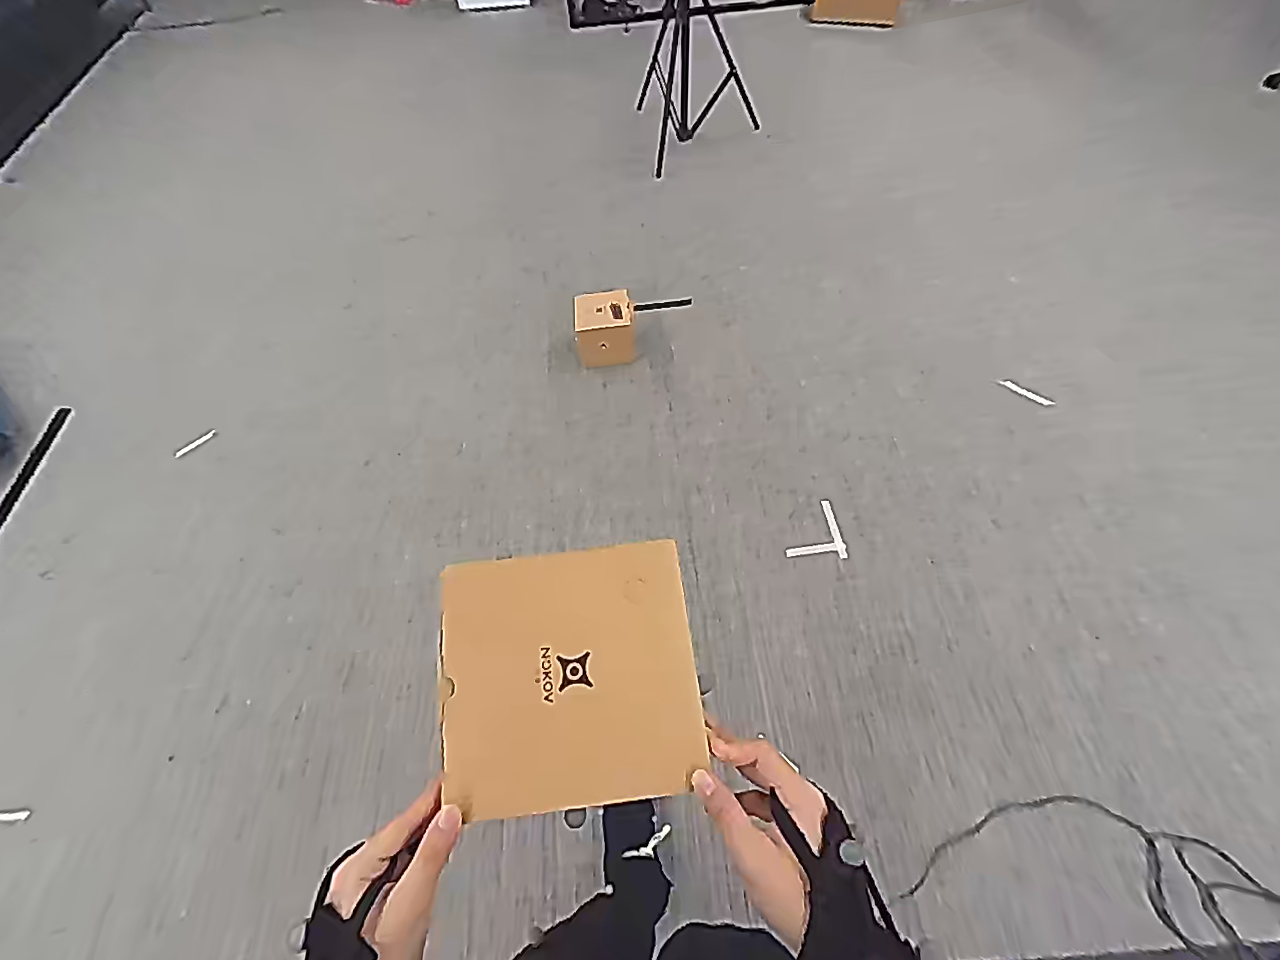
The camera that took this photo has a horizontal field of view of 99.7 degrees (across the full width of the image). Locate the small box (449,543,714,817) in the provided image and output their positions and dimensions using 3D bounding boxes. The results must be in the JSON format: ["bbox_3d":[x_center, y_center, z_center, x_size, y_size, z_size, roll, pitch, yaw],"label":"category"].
[{"bbox_3d":[-0.045,0.159,0.452,0.179,0.176,0.168,-8,69,0],"label":"small box"}]

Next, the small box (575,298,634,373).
[{"bbox_3d":[-0.114,-0.474,1.787,0.179,0.176,0.168,-6,58,2],"label":"small box"}]
